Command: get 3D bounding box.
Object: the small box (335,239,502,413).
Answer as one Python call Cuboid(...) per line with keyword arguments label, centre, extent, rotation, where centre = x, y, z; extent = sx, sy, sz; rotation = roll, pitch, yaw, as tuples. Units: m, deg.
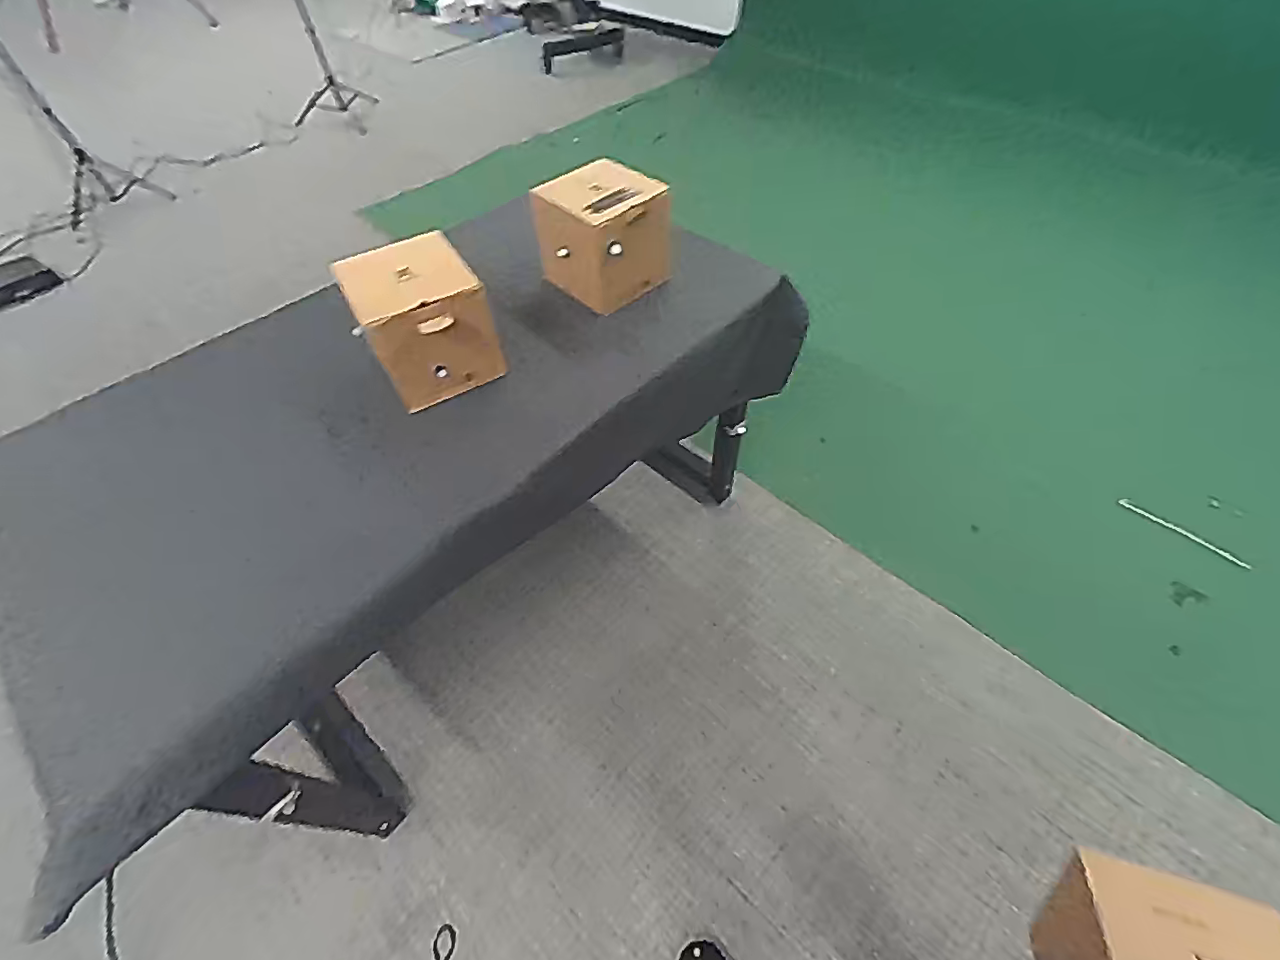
Cuboid(label="small box", centre=(-0.334, -0.236, 0.835), extent=(0.168, 0.176, 0.179), rotation=(-28, 58, -19))
